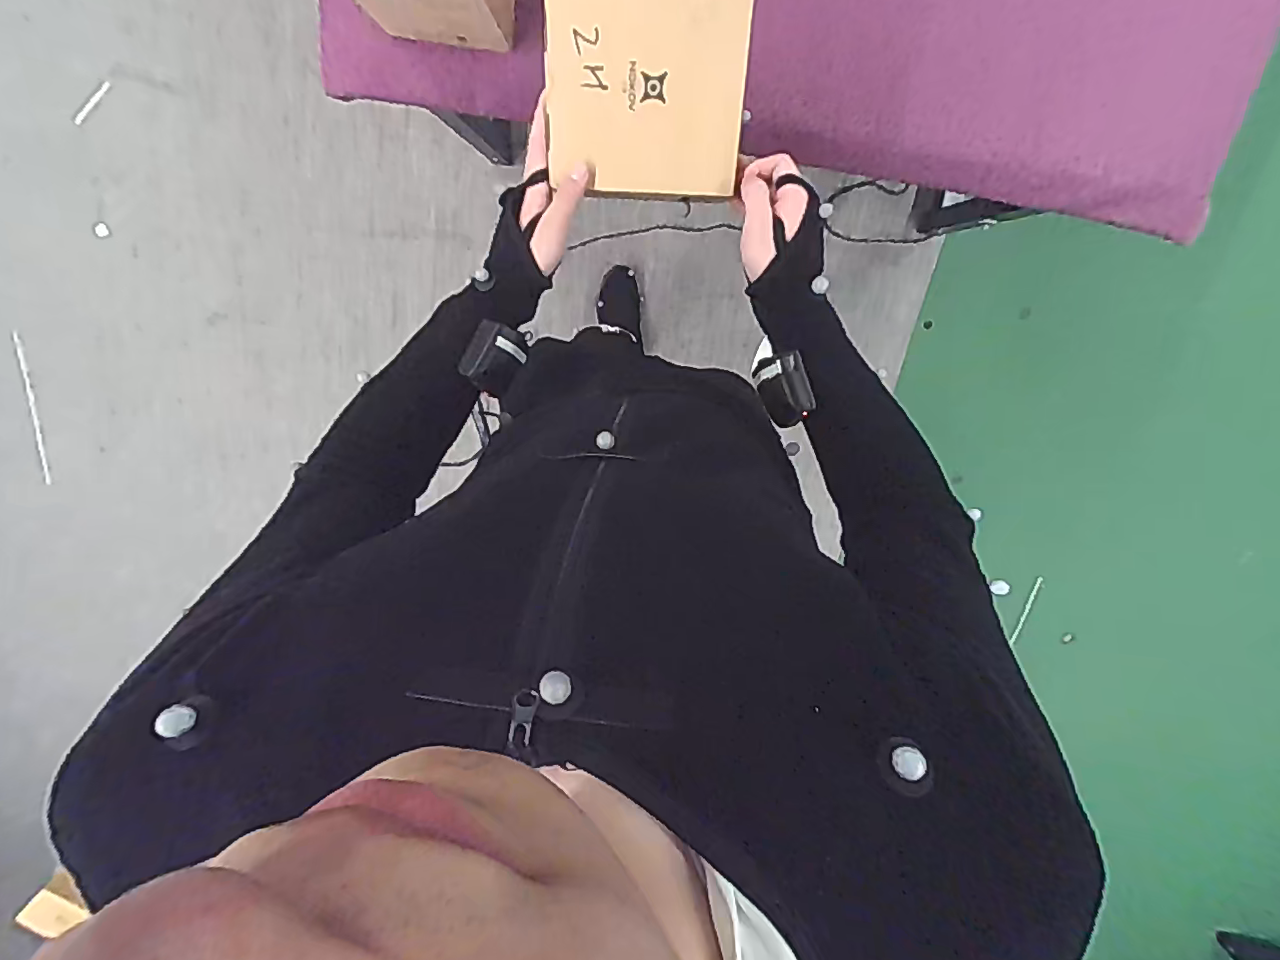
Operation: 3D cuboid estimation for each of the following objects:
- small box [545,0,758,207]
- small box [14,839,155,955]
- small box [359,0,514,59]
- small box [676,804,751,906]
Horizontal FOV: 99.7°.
[{"bbox_3d":[0.009,-0.369,0.538,0.179,0.176,0.168,5,116,2],"label":"small box"},{"bbox_3d":[-1.510,1.131,1.482,0.168,0.176,0.179,-43,104,13],"label":"small box"},{"bbox_3d":[-0.235,-0.612,0.593,0.168,0.176,0.179,8,107,-1],"label":"small box"},{"bbox_3d":[0.214,1.116,1.619,0.179,0.176,0.168,-21,107,7],"label":"small box"}]
